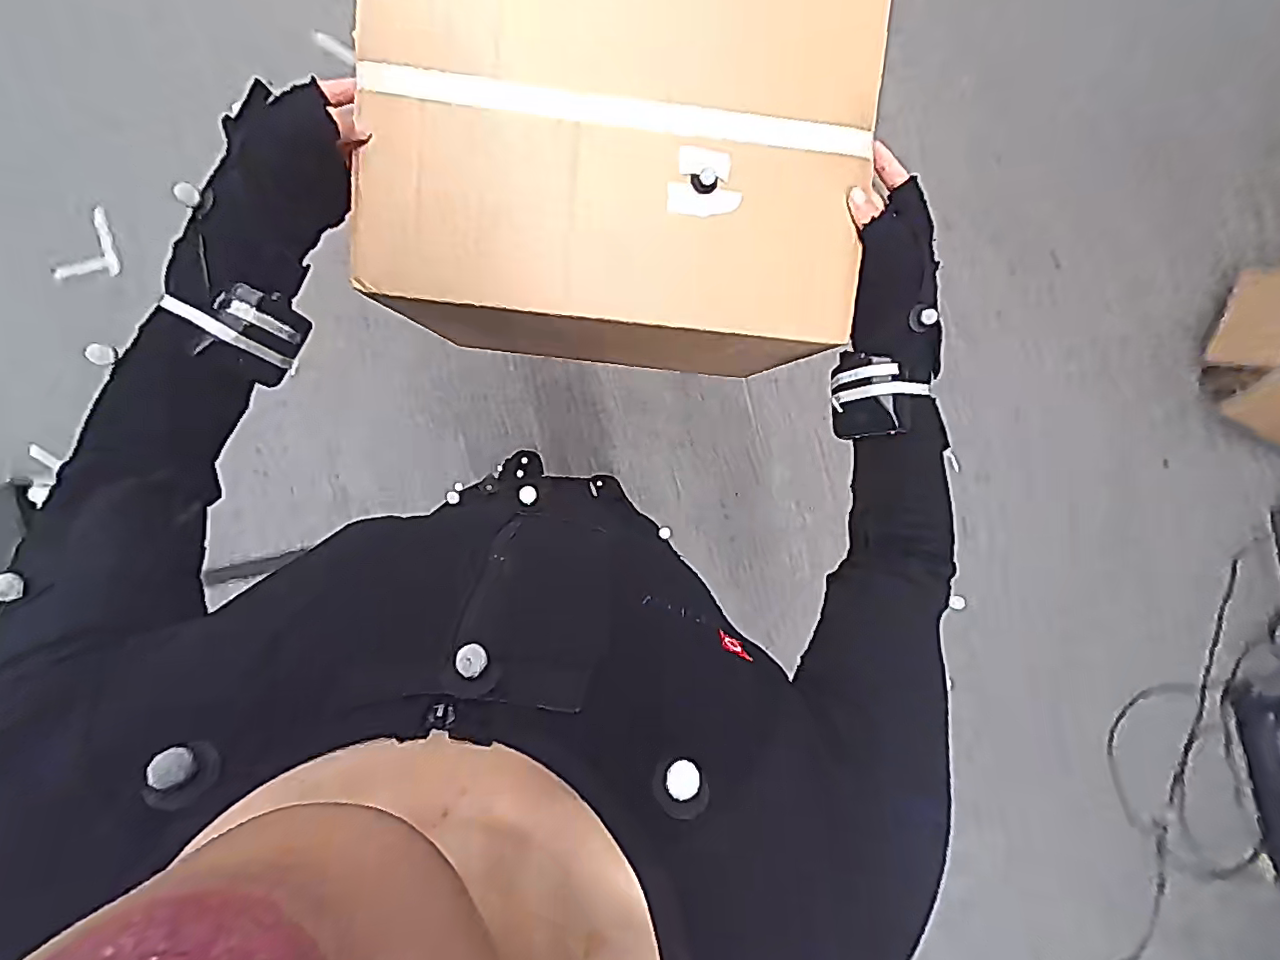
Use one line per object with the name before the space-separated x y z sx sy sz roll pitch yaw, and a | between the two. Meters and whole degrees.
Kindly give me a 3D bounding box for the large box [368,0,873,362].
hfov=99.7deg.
large box | -0.026 -0.310 0.582 0.408 0.320 0.320 3 96 -5
